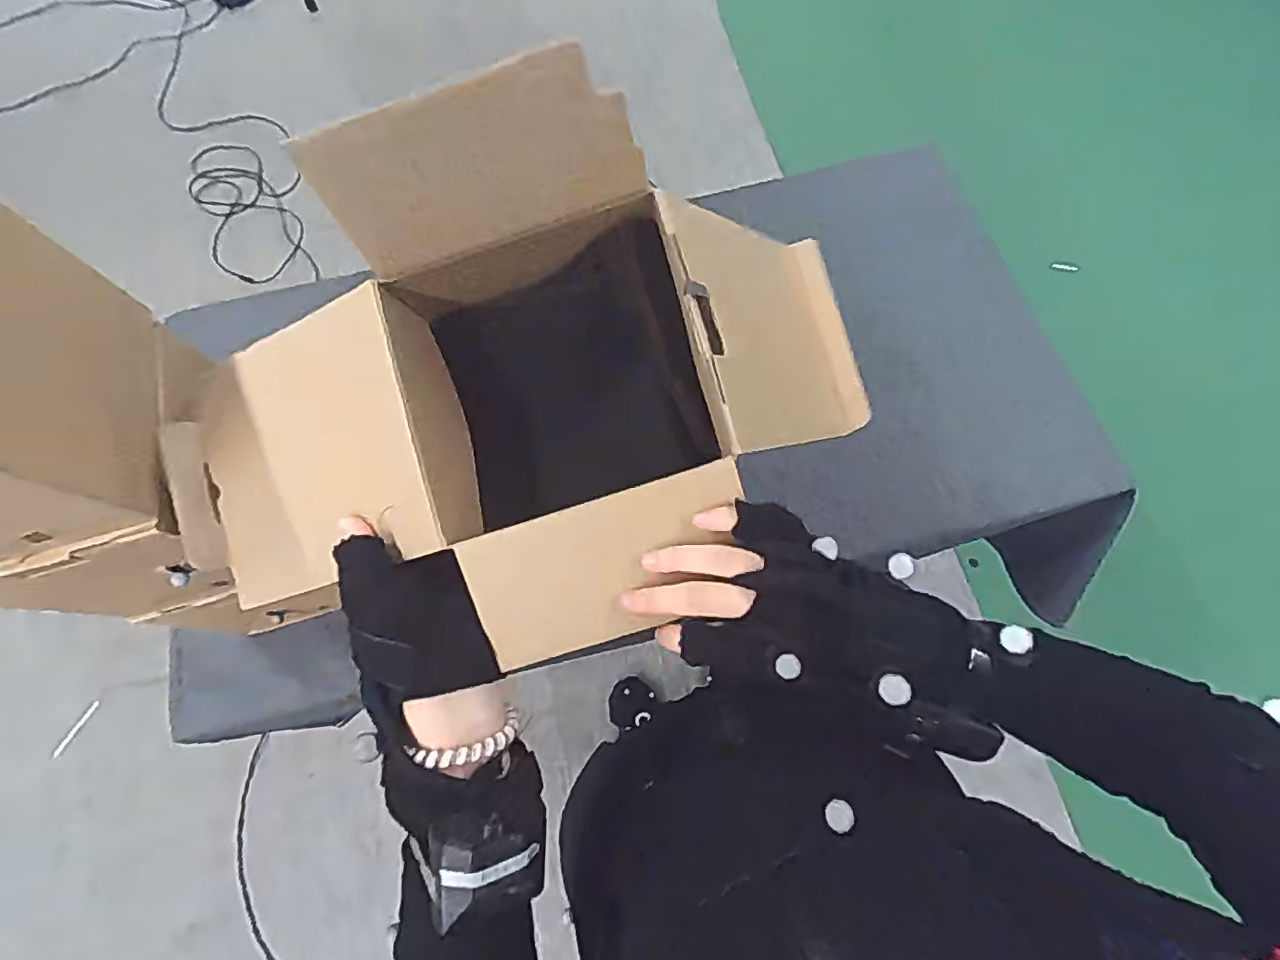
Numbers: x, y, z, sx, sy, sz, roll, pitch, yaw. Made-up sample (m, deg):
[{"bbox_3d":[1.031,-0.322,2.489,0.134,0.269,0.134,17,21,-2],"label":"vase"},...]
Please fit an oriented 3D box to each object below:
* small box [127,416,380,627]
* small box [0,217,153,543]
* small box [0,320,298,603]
[{"bbox_3d":[-0.421,0.056,0.613,0.168,0.176,0.179,-16,72,-4],"label":"small box"},{"bbox_3d":[-0.427,-0.059,0.307,0.168,0.176,0.179,-16,72,-6],"label":"small box"},{"bbox_3d":[-0.422,0.000,0.460,0.168,0.176,0.179,-15,72,-5],"label":"small box"}]
